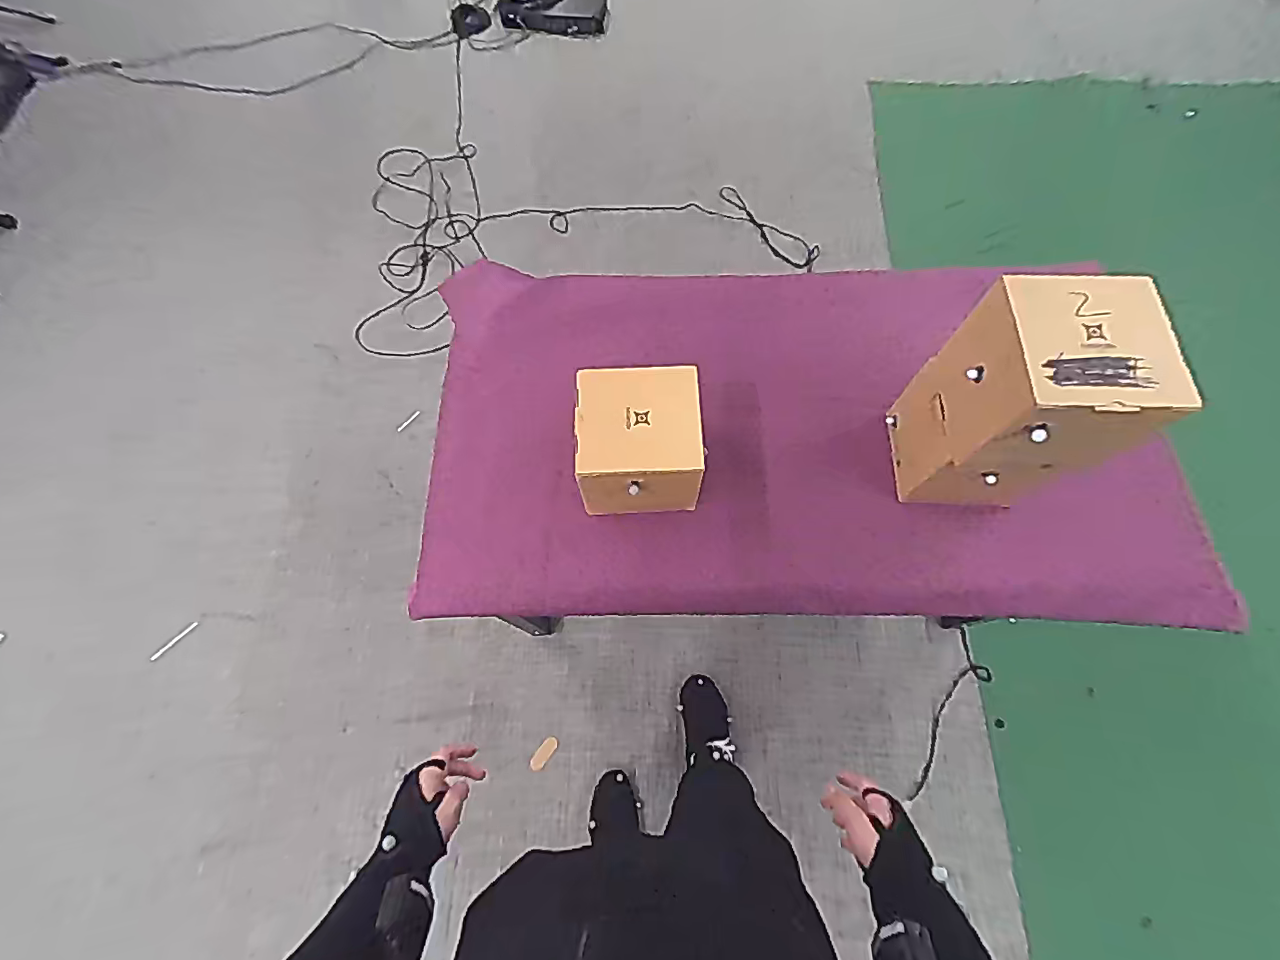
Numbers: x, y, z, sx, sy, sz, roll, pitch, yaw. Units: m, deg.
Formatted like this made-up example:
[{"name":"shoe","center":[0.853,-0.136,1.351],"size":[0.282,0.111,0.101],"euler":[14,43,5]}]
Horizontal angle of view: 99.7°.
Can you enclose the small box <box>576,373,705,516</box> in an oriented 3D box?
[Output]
[{"name":"small box","center":[0.001,-0.047,0.825],"size":[0.179,0.176,0.168],"euler":[-2,68,1]}]

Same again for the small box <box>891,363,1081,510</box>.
[{"name":"small box","center":[0.499,-0.059,0.816],"size":[0.179,0.176,0.168],"euler":[2,68,2]}]
